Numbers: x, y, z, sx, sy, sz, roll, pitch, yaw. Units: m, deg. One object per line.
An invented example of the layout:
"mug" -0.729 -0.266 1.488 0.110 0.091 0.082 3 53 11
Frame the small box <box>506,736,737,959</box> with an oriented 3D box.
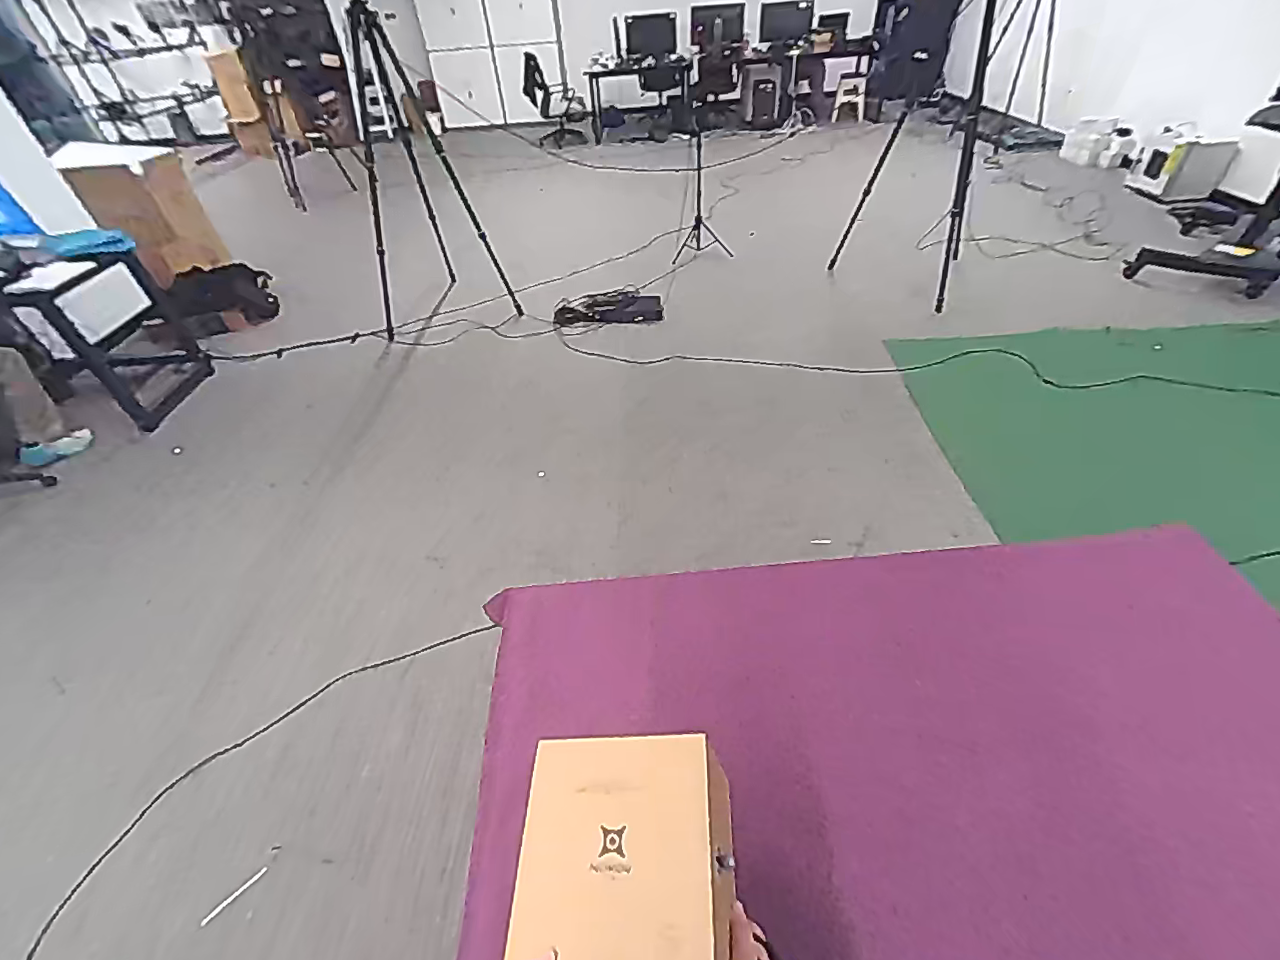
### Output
"small box" -0.003 0.358 0.508 0.168 0.176 0.179 -6 47 12
